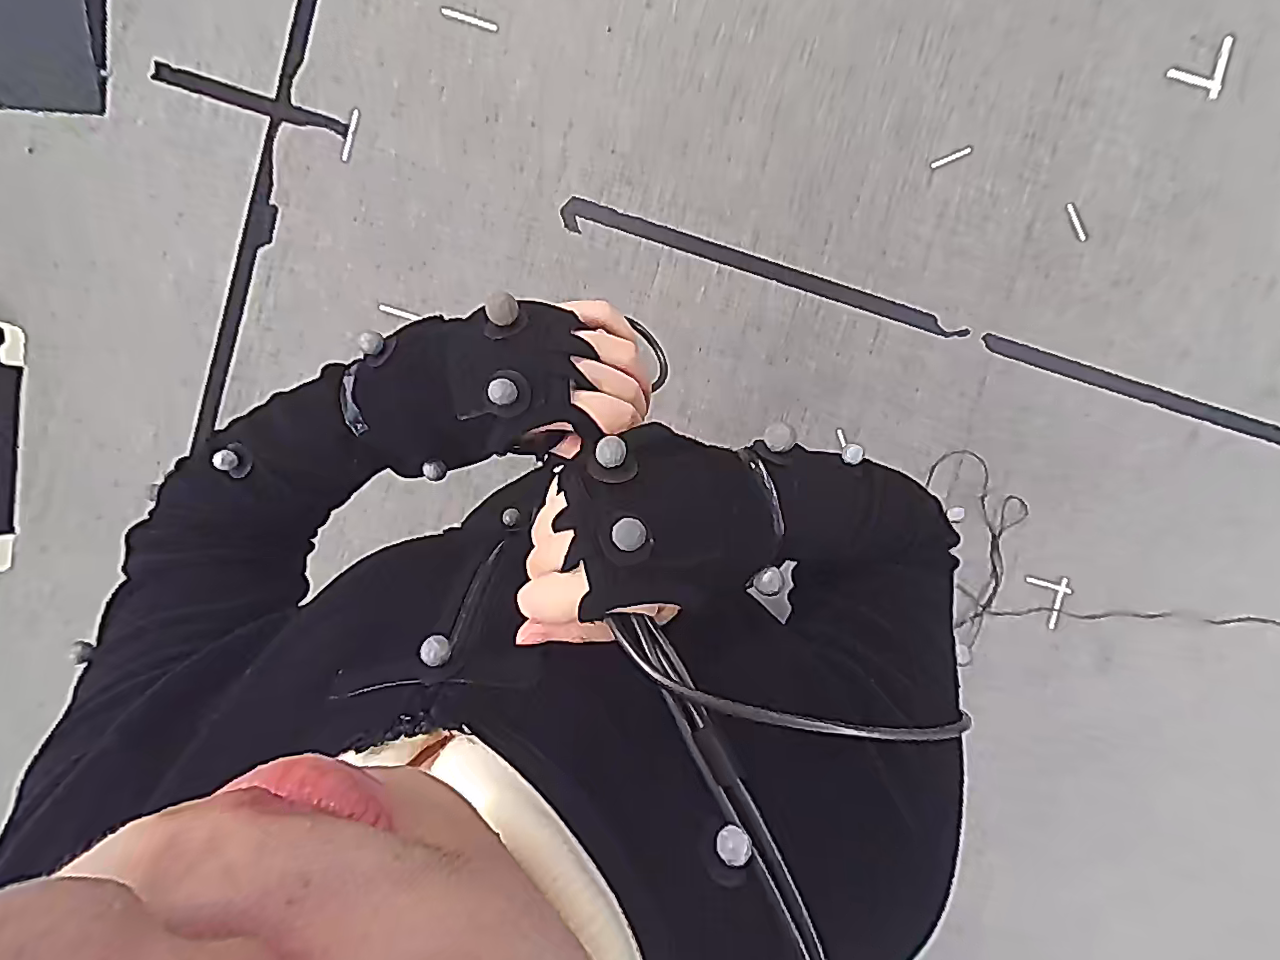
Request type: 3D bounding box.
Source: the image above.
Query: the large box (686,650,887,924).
[{"bbox_3d":[0.302,0.650,1.209,0.320,0.320,0.408,-10,94,-1],"label":"large box"}]
